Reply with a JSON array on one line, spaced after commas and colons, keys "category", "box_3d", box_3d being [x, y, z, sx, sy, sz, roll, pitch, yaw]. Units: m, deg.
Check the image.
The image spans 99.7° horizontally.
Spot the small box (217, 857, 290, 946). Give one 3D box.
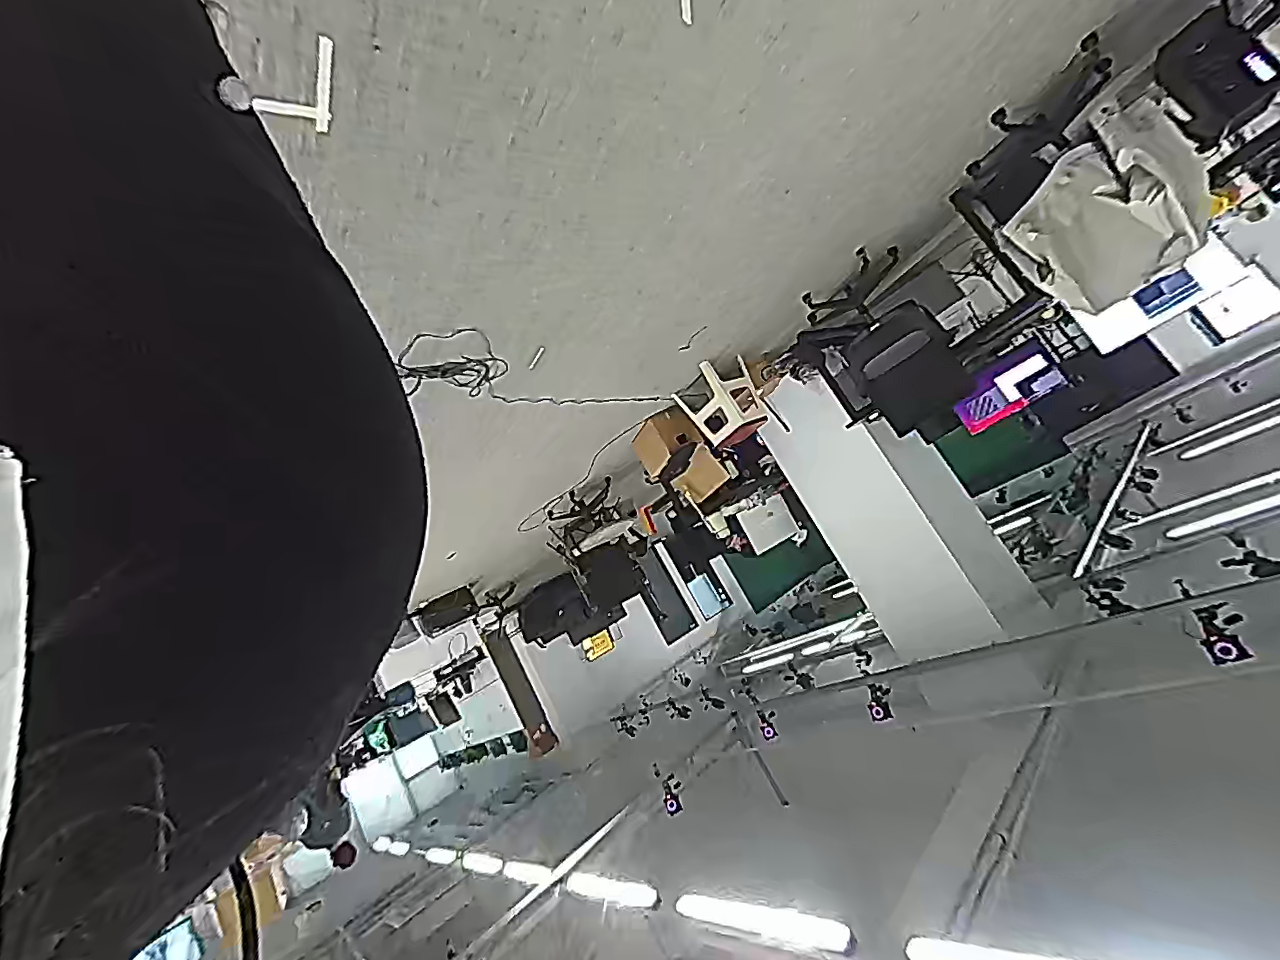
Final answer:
[{"category": "small box", "box_3d": [-1.324, 1.435, 1.859, 0.168, 0.176, 0.179, -19, 166, -35]}]
